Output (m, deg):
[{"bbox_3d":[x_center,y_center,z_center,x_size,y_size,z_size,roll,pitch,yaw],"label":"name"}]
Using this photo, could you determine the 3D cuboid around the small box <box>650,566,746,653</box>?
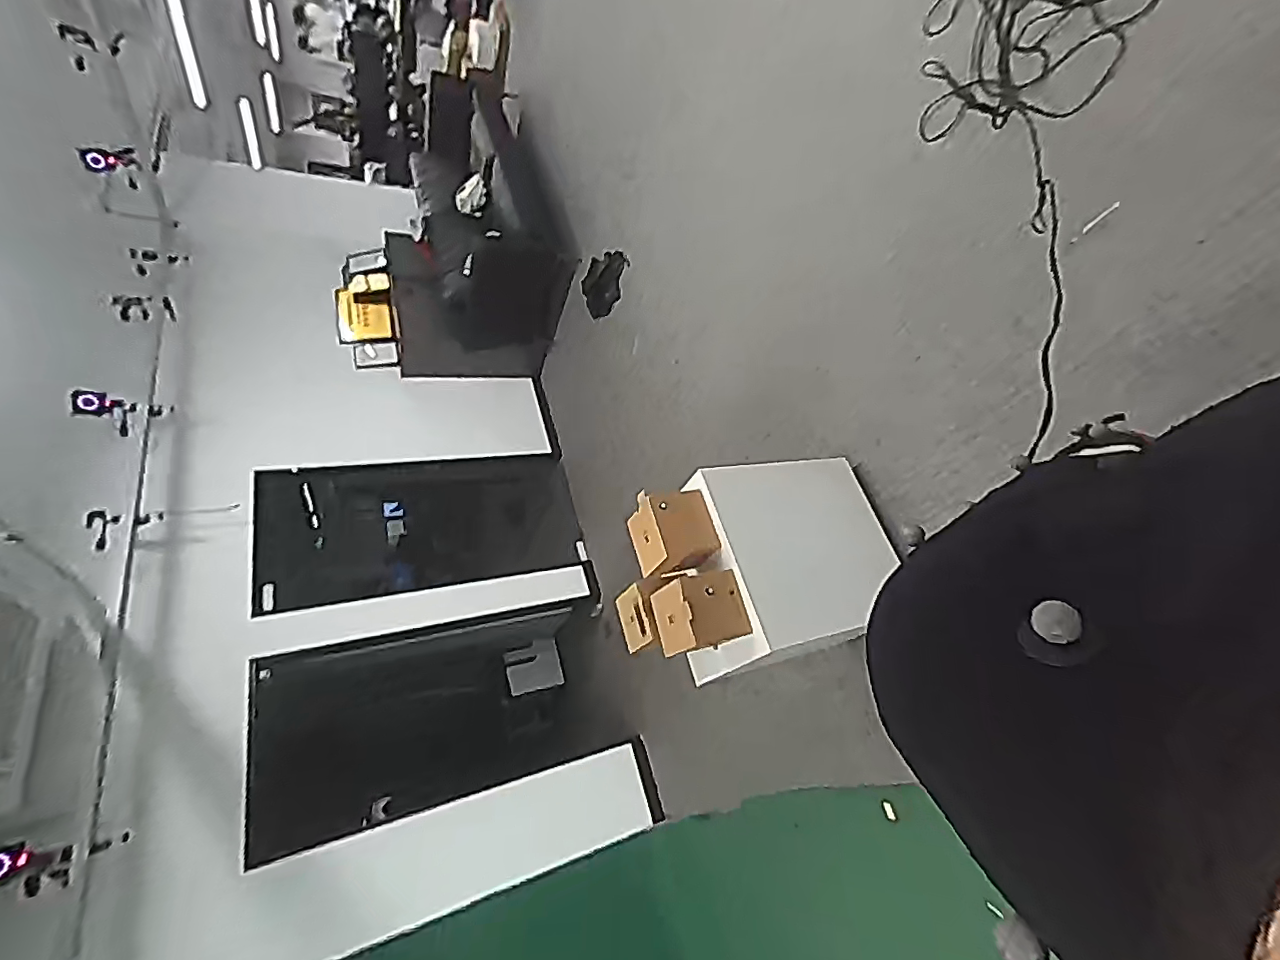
[{"bbox_3d":[0.150,0.327,1.371,0.179,0.176,0.168,129,131,-56],"label":"small box"}]
